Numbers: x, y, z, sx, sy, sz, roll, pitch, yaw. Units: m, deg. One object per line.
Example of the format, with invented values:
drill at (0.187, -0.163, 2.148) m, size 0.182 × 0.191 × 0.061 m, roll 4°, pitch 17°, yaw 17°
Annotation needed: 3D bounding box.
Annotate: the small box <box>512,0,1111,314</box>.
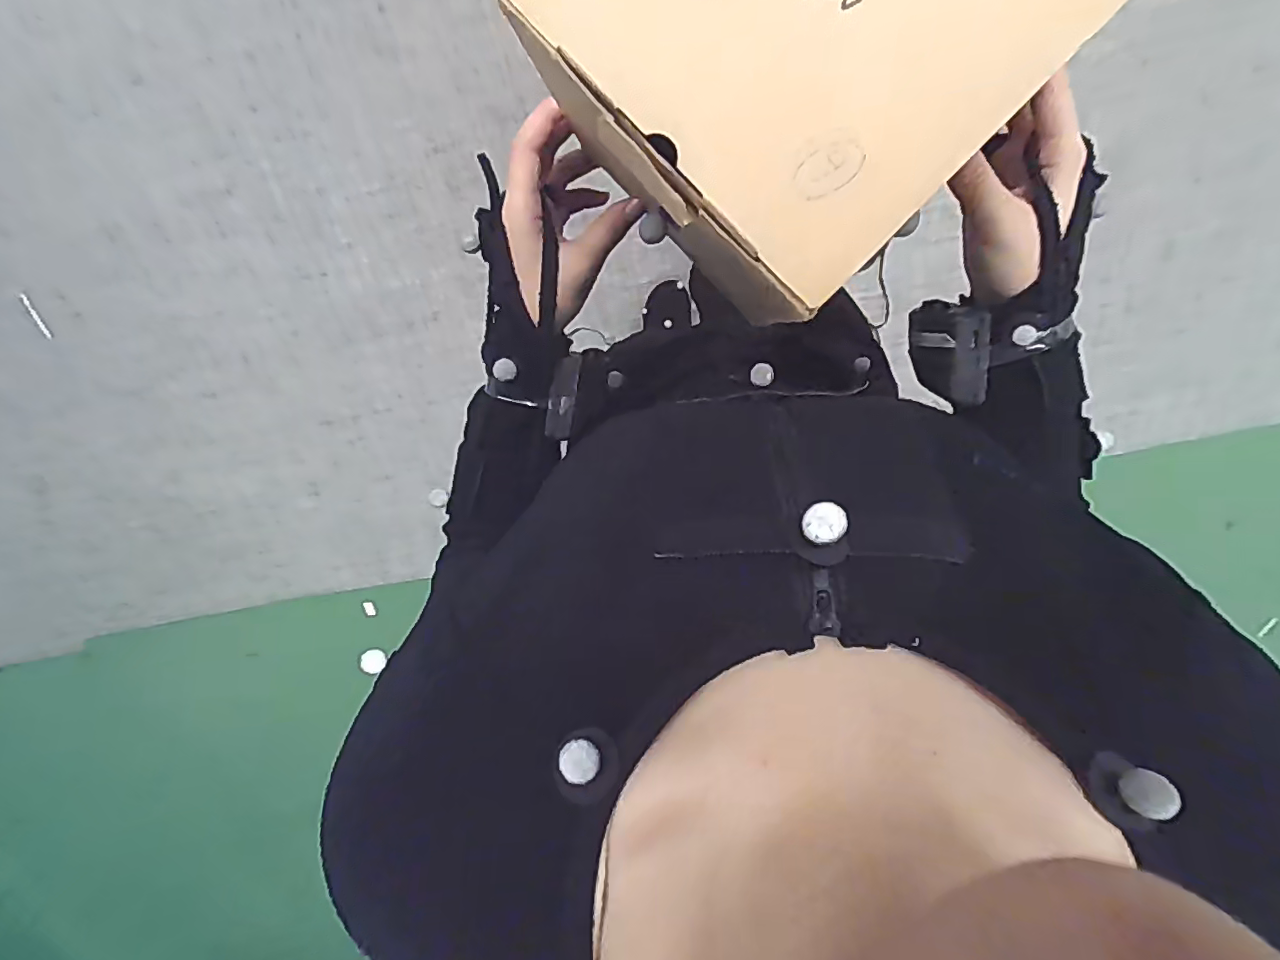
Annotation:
small box at (0.074, -0.202, 0.270) m, size 0.168 × 0.176 × 0.179 m, roll 43°, pitch 104°, yaw -6°
